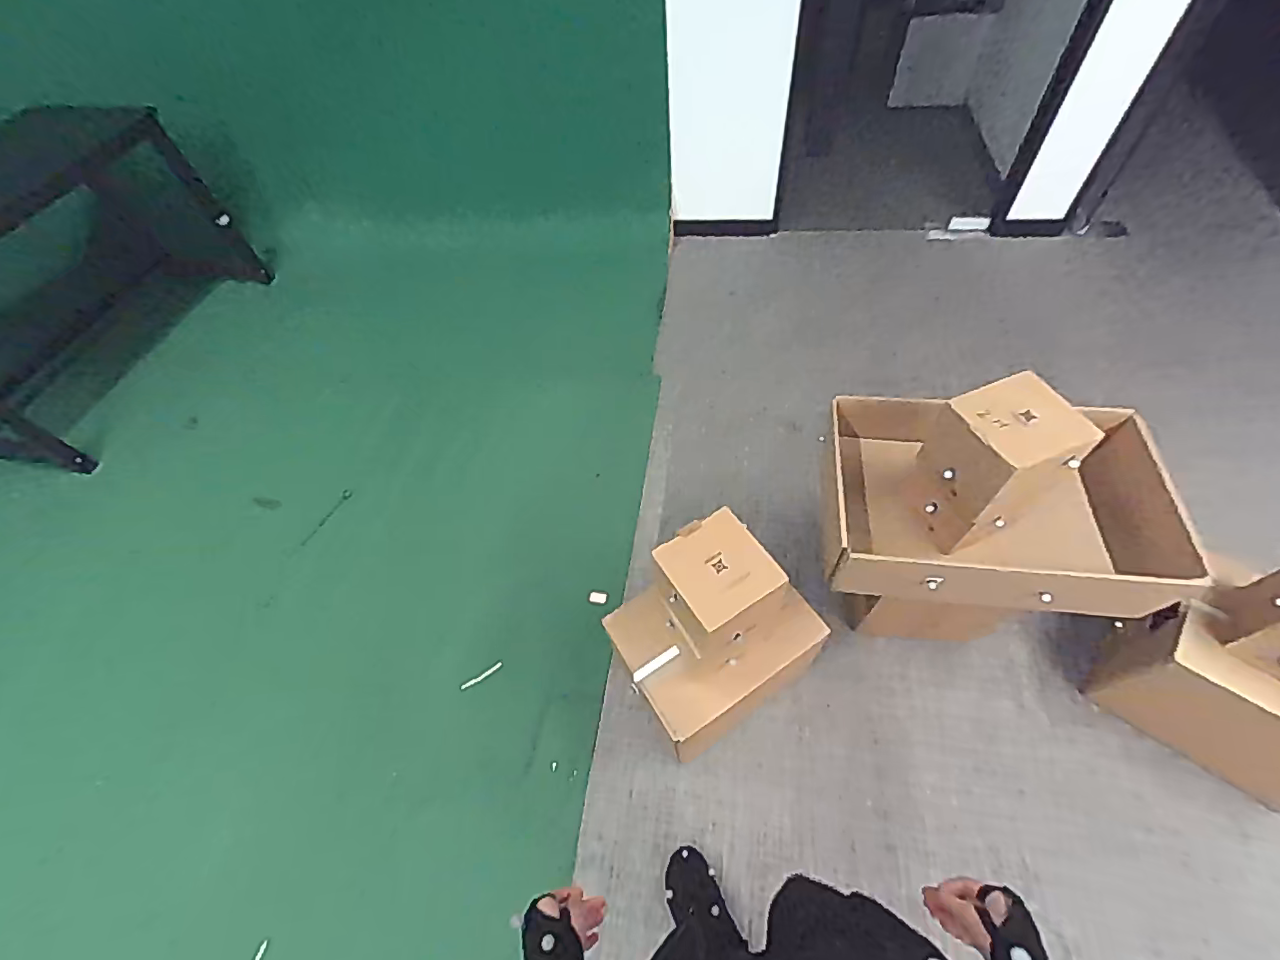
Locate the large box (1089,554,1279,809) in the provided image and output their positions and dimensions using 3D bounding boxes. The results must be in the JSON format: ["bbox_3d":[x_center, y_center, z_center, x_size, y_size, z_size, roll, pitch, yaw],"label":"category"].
[{"bbox_3d":[1.318,0.439,1.173,0.408,0.320,0.320,32,64,23],"label":"large box"}]

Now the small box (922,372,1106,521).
[{"bbox_3d":[0.642,-0.055,0.956,0.179,0.176,0.168,-20,55,-7],"label":"small box"}]

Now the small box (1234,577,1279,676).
[{"bbox_3d":[1.270,0.273,0.995,0.168,0.176,0.179,36,65,26],"label":"small box"}]

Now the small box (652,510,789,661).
[{"bbox_3d":[0.137,0.192,0.966,0.168,0.176,0.179,-29,58,-13],"label":"small box"}]

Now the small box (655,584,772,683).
[{"bbox_3d":[0.144,0.282,1.102,0.168,0.176,0.179,-27,57,-12],"label":"small box"}]
